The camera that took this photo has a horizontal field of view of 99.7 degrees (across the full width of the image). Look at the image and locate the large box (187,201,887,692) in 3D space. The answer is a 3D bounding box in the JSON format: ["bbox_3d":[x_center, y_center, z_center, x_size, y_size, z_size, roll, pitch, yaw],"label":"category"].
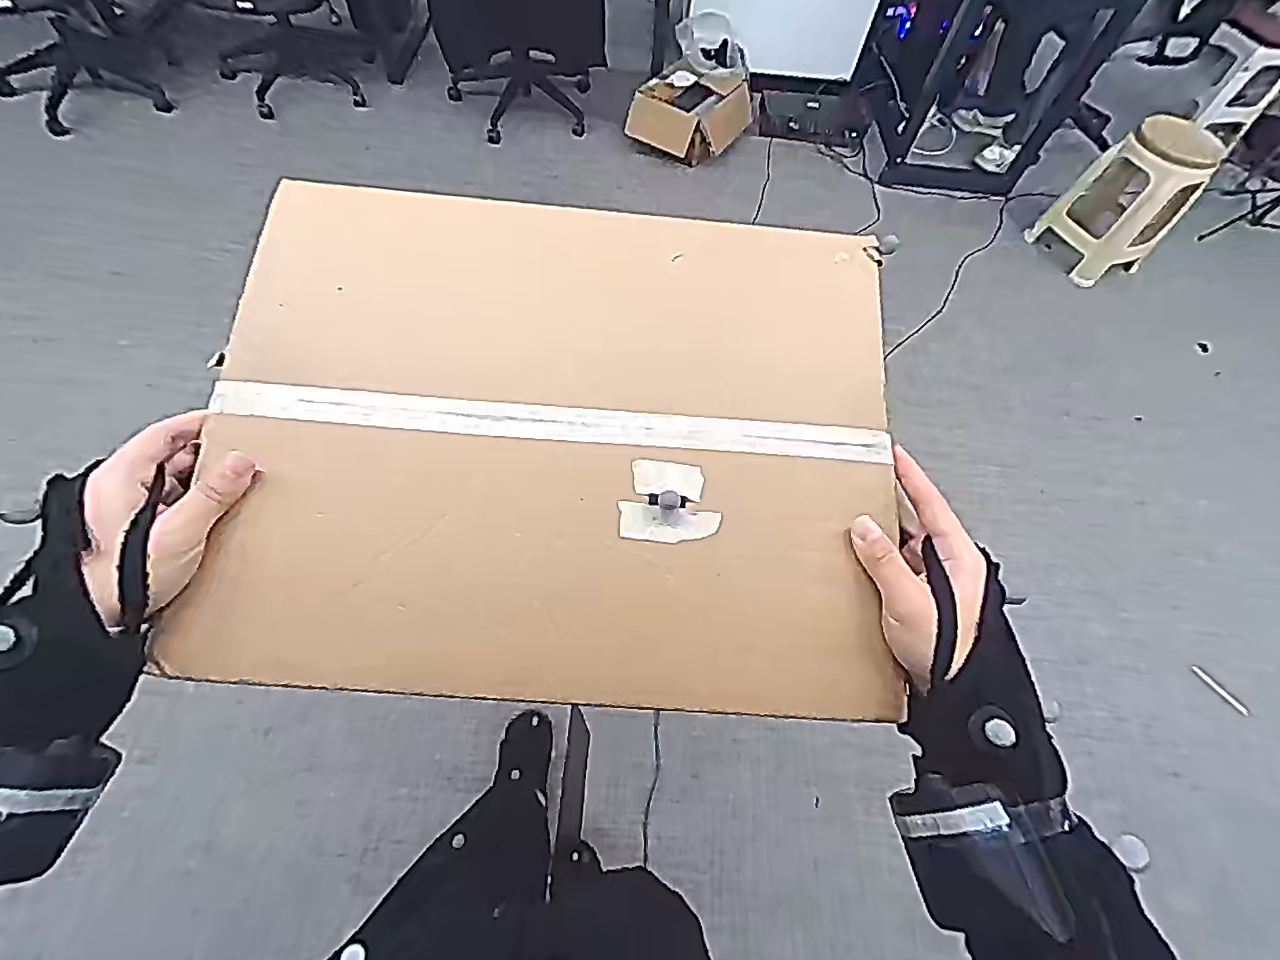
[{"bbox_3d":[-0.055,0.003,0.488,0.408,0.320,0.320,5,75,-2],"label":"large box"}]
